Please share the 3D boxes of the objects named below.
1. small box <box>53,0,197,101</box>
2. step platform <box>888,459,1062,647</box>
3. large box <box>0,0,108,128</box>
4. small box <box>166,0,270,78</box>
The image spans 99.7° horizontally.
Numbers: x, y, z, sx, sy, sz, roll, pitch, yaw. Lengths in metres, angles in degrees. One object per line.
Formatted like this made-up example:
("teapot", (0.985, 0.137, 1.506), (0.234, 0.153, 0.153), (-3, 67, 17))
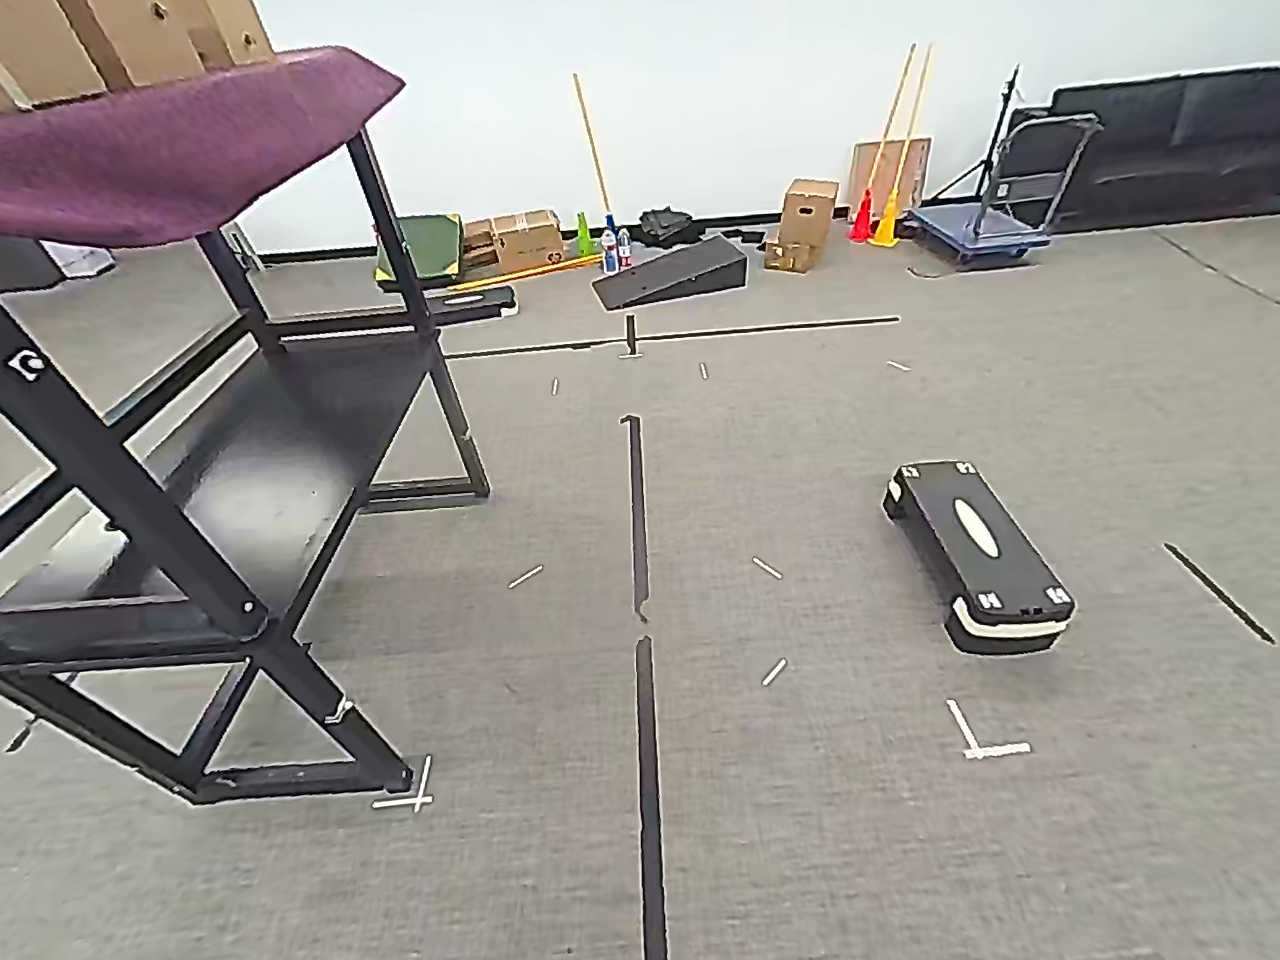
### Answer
("small box", (-0.870, -0.719, 0.865), (0.168, 0.176, 0.179), (-1, 42, 6))
("step platform", (1.079, 0.203, 1.809), (0.286, 0.204, 0.684), (-1, 41, 5))
("large box", (-0.932, -0.521, 0.547), (0.408, 0.320, 0.320), (-7, 41, 0))
("small box", (-0.920, -0.951, 1.129), (0.168, 0.176, 0.179), (-4, 41, 3))
